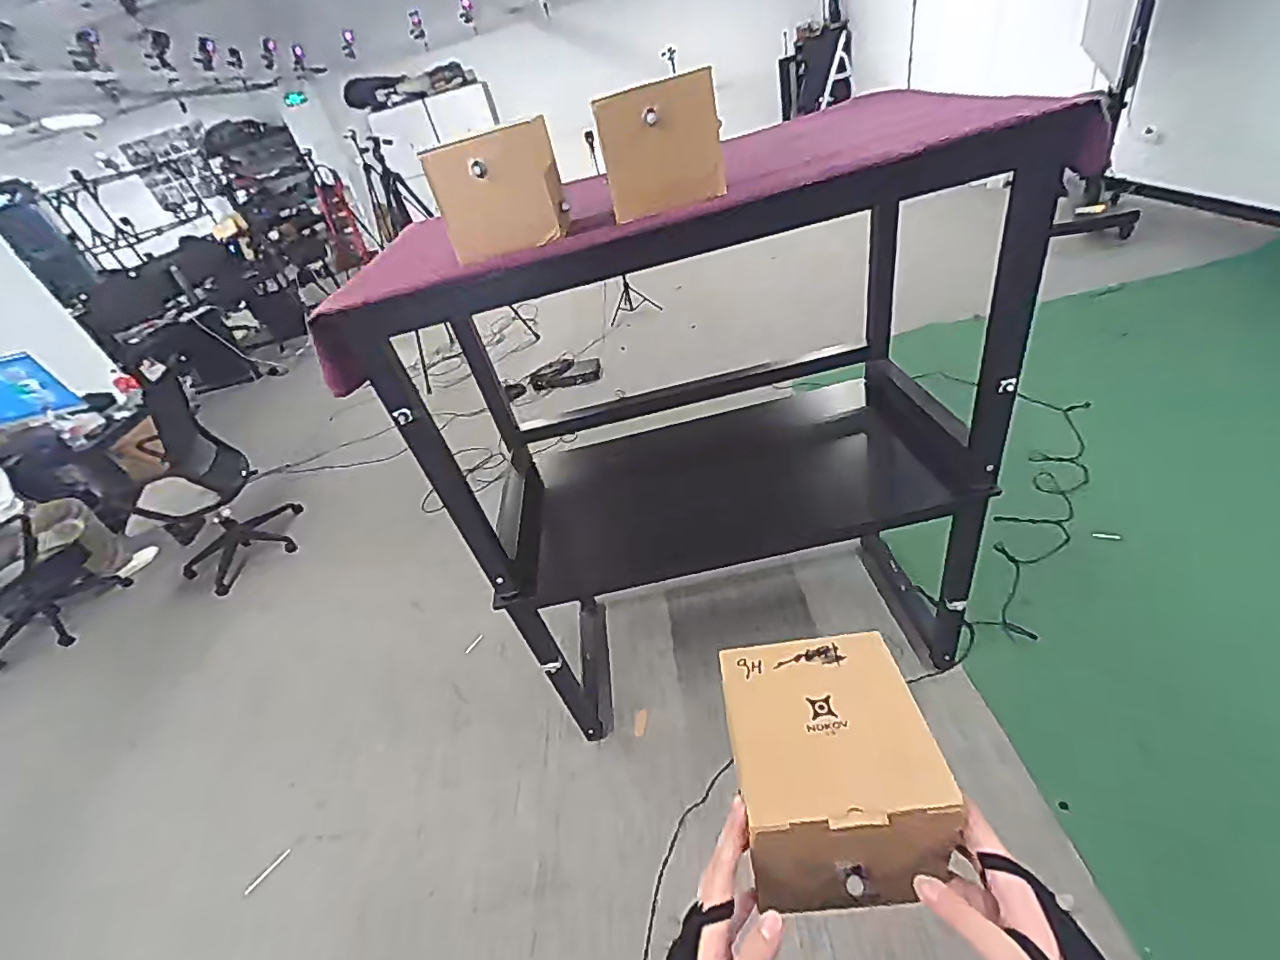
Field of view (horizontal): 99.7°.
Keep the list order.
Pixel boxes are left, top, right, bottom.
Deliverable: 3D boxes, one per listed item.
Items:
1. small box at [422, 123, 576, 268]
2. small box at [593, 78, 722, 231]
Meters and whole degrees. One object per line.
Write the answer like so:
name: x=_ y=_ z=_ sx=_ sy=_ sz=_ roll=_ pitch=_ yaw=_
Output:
small box: x=-0.220 y=-0.467 z=0.893 sx=0.179 sy=0.176 sz=0.168 roll=-10 pitch=36 yaw=7
small box: x=0.030 y=-0.525 z=0.875 sx=0.179 sy=0.176 sz=0.168 roll=-14 pitch=35 yaw=4
